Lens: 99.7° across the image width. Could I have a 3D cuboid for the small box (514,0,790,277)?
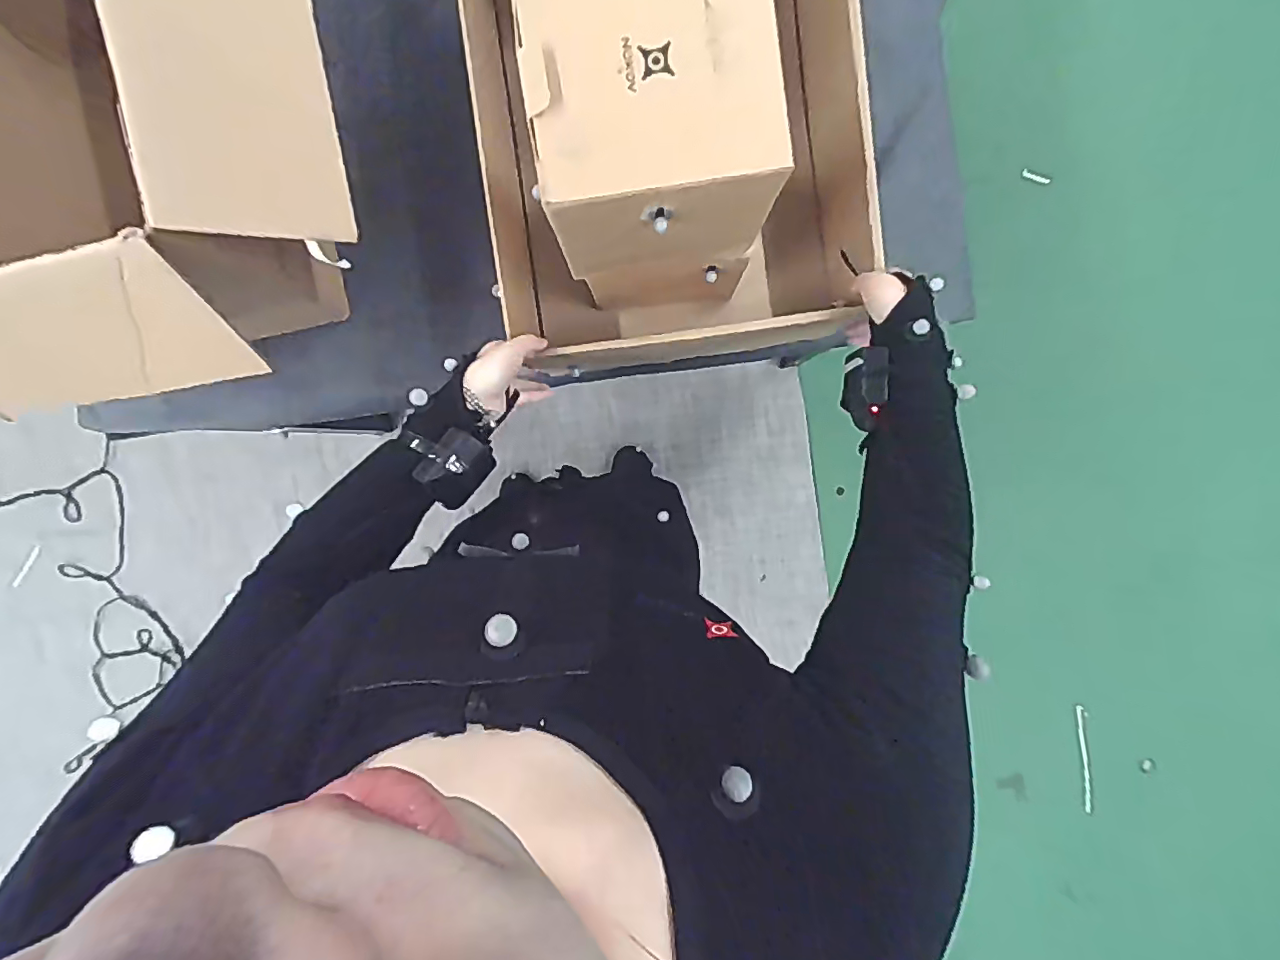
[{"bbox_3d":[0.010,-0.283,0.452,0.179,0.176,0.168,-8,95,0],"label":"small box"}]
